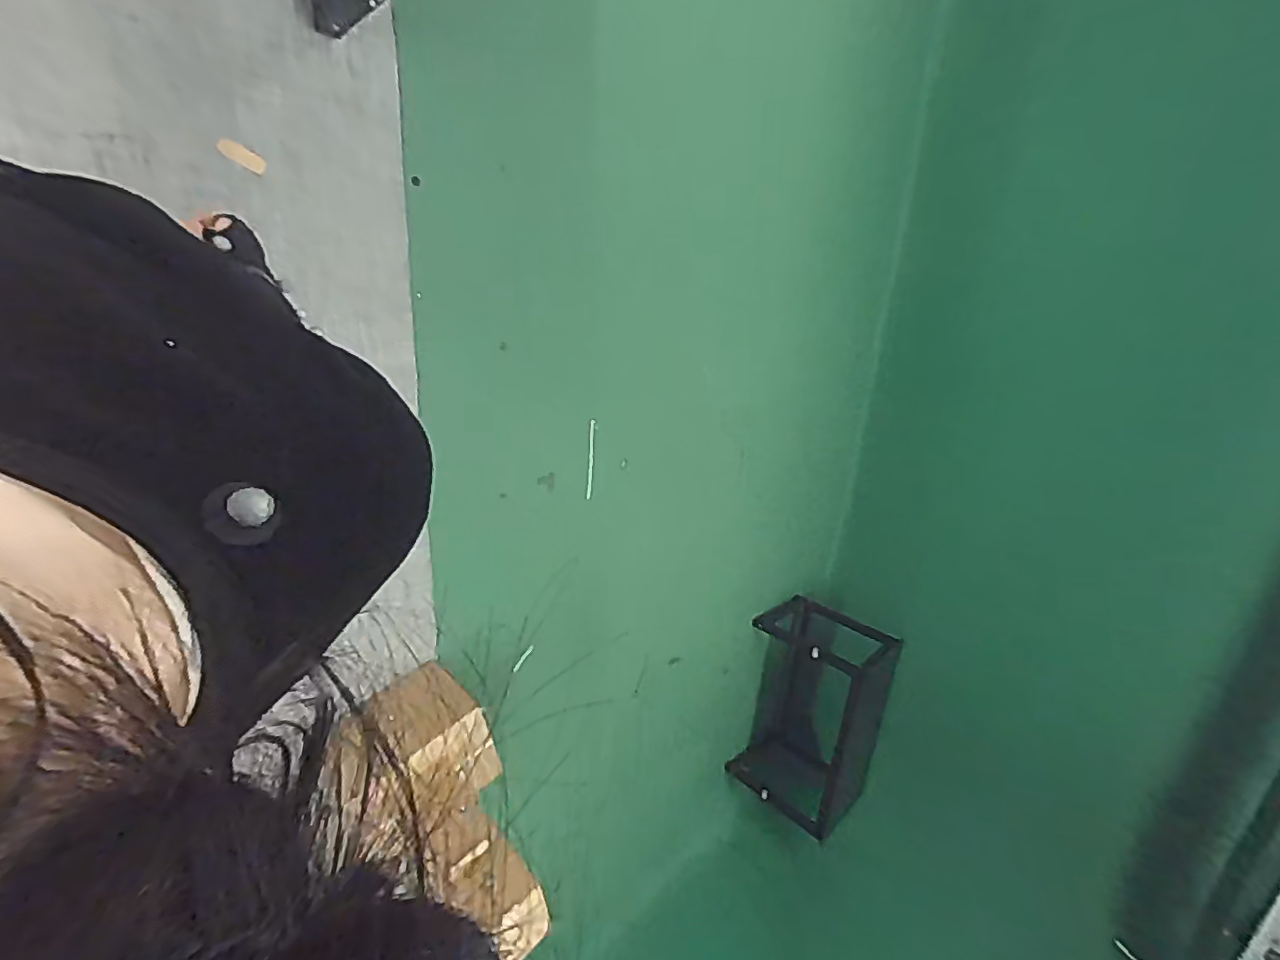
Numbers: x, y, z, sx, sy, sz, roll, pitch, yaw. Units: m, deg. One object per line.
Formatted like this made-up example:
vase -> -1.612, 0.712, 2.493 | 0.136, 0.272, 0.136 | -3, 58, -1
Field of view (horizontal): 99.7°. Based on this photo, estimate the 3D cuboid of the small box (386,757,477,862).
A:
small box -> -0.570, 0.916, 1.499 | 0.179, 0.176, 0.168 | -26, 122, -38

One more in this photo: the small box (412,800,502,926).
small box -> -0.462, 0.966, 1.386 | 0.168, 0.176, 0.179 | -24, 121, -39

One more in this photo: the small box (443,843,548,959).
small box -> -0.343, 1.011, 1.281 | 0.168, 0.176, 0.179 | -25, 121, -38

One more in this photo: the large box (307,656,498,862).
large box -> -0.723, 0.838, 1.676 | 0.408, 0.320, 0.320 | -31, 127, -37
